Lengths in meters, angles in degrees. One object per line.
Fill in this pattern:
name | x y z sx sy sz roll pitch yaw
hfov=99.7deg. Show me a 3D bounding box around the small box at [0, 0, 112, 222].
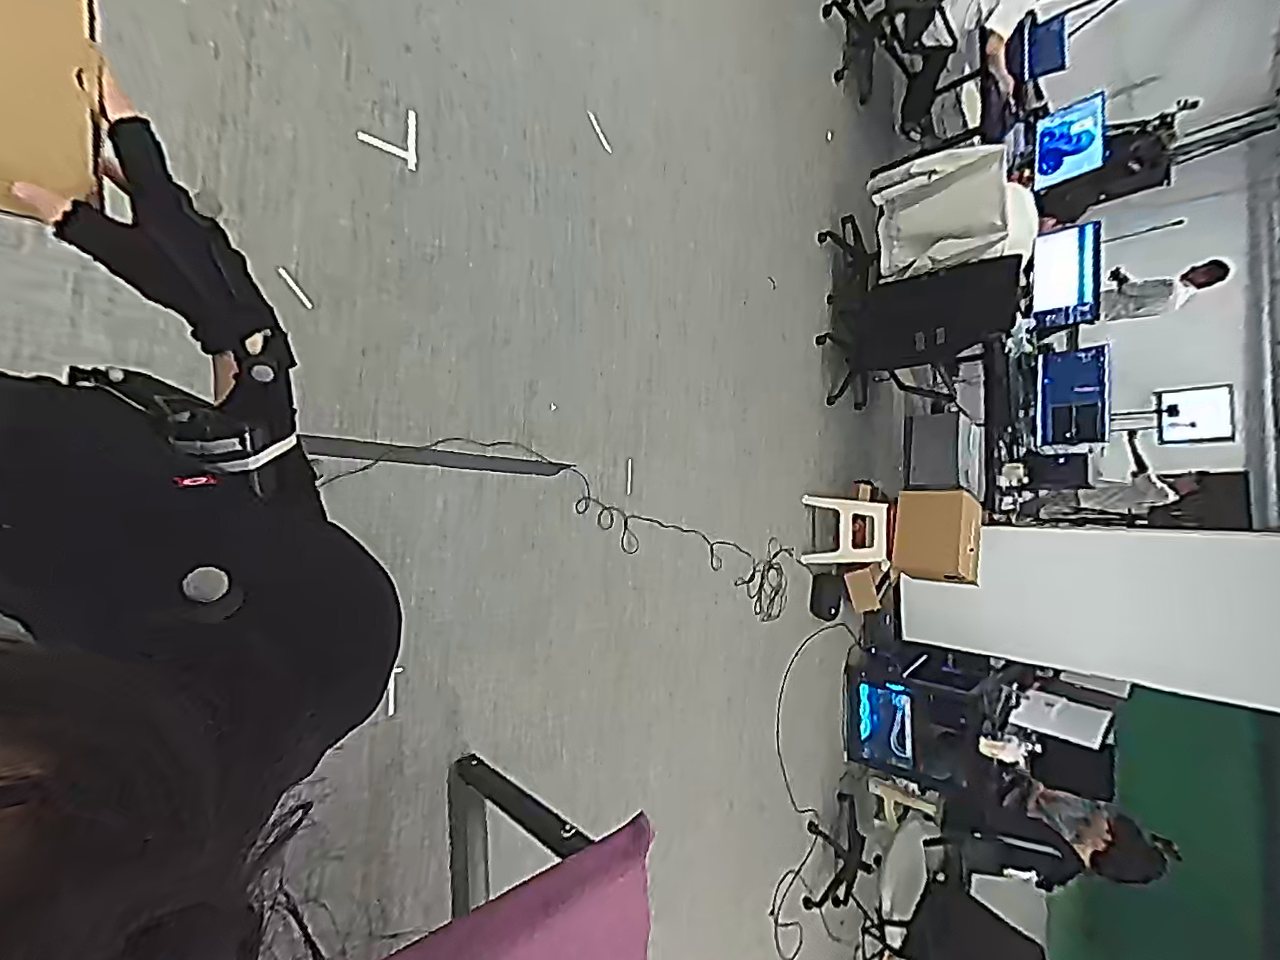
small box | -0.429 -0.262 0.307 0.179 0.176 0.168 -2 109 -46
